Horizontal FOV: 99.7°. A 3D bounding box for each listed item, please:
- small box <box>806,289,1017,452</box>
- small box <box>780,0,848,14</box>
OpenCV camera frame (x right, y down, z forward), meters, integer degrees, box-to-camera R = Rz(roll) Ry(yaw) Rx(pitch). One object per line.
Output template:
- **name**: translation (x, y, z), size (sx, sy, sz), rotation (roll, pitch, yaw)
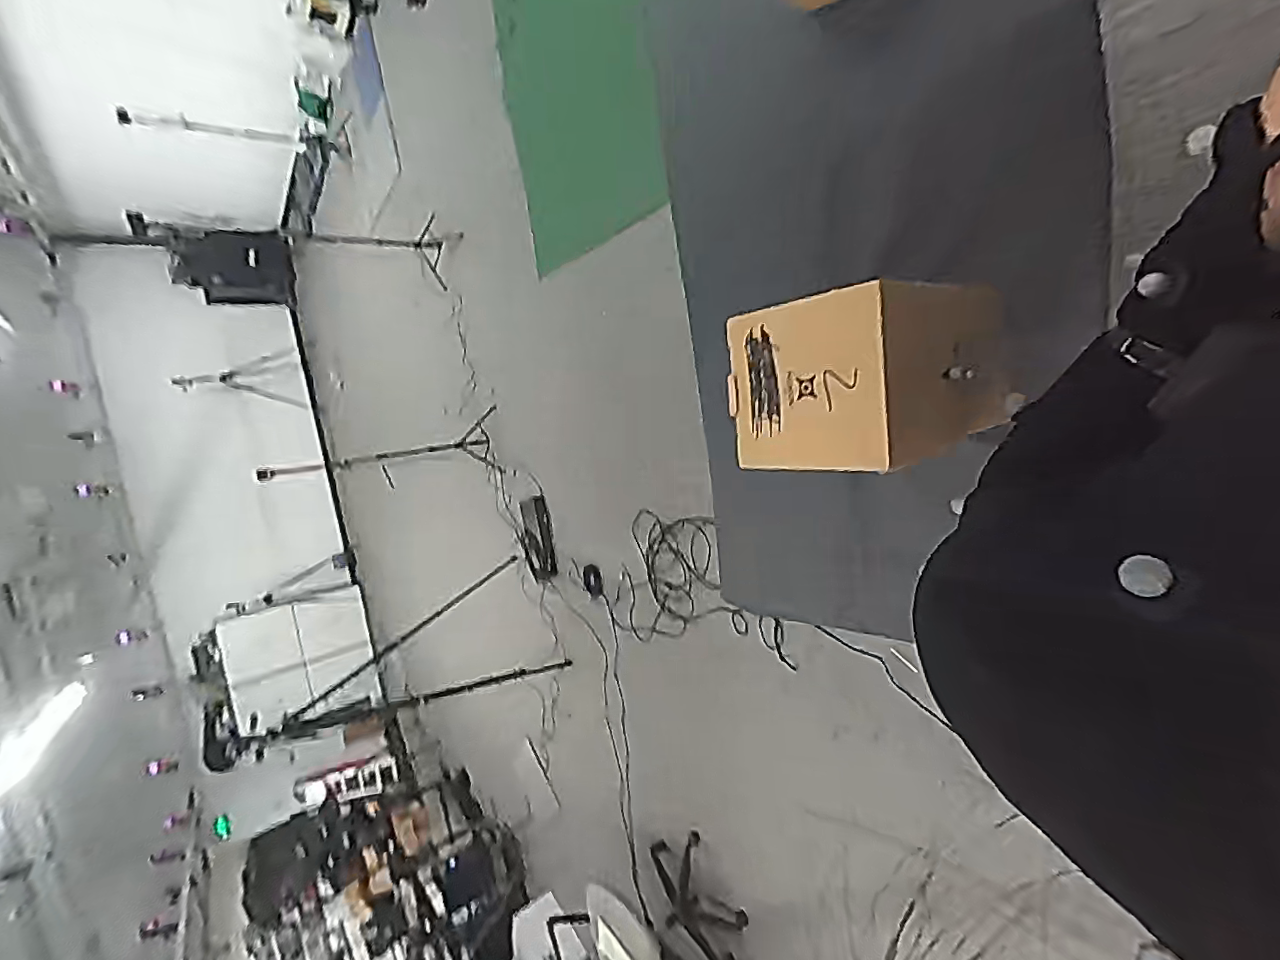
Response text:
- **small box**: translation (0.344, -0.131, 0.689), size (0.179, 0.176, 0.168), rotation (-5, 96, 53)
- **small box**: translation (0.235, -0.702, 0.641), size (0.179, 0.176, 0.168), rotation (26, 120, 48)
